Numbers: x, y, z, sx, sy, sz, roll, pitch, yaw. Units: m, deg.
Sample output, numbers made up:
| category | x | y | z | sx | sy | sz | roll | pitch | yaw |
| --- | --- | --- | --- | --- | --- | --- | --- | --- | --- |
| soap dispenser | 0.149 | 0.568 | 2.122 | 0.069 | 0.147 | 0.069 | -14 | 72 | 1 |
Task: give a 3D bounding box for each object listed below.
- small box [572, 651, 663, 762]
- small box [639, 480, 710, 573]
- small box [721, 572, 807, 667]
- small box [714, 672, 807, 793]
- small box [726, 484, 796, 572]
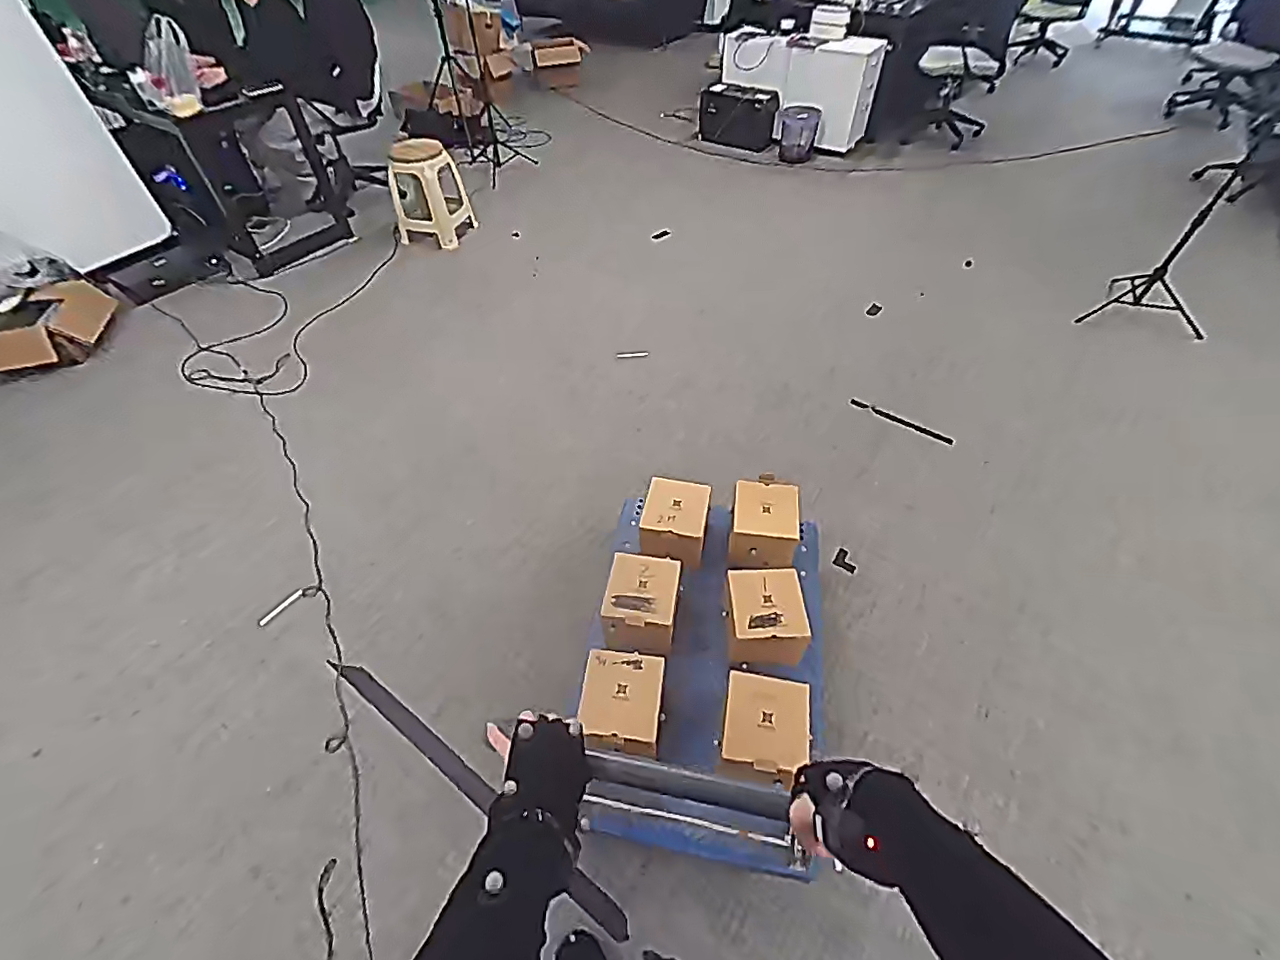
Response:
| category | x | y | z | sx | sy | sz | roll | pitch | yaw |
| --- | --- | --- | --- | --- | --- | --- | --- | --- | --- |
| small box | -0.041 | 0.498 | 1.180 | 0.168 | 0.176 | 0.179 | 6 | 51 | 6 |
| small box | 0.094 | 0.129 | 1.489 | 0.168 | 0.176 | 0.179 | 9 | 51 | 10 |
| small box | 0.291 | 0.341 | 1.306 | 0.168 | 0.176 | 0.179 | -1 | 49 | 1 |
| small box | 0.252 | 0.536 | 1.141 | 0.168 | 0.176 | 0.179 | 9 | 50 | 8 |
| small box | 0.329 | 0.135 | 1.480 | 0.168 | 0.176 | 0.179 | 6 | 50 | 7 |
